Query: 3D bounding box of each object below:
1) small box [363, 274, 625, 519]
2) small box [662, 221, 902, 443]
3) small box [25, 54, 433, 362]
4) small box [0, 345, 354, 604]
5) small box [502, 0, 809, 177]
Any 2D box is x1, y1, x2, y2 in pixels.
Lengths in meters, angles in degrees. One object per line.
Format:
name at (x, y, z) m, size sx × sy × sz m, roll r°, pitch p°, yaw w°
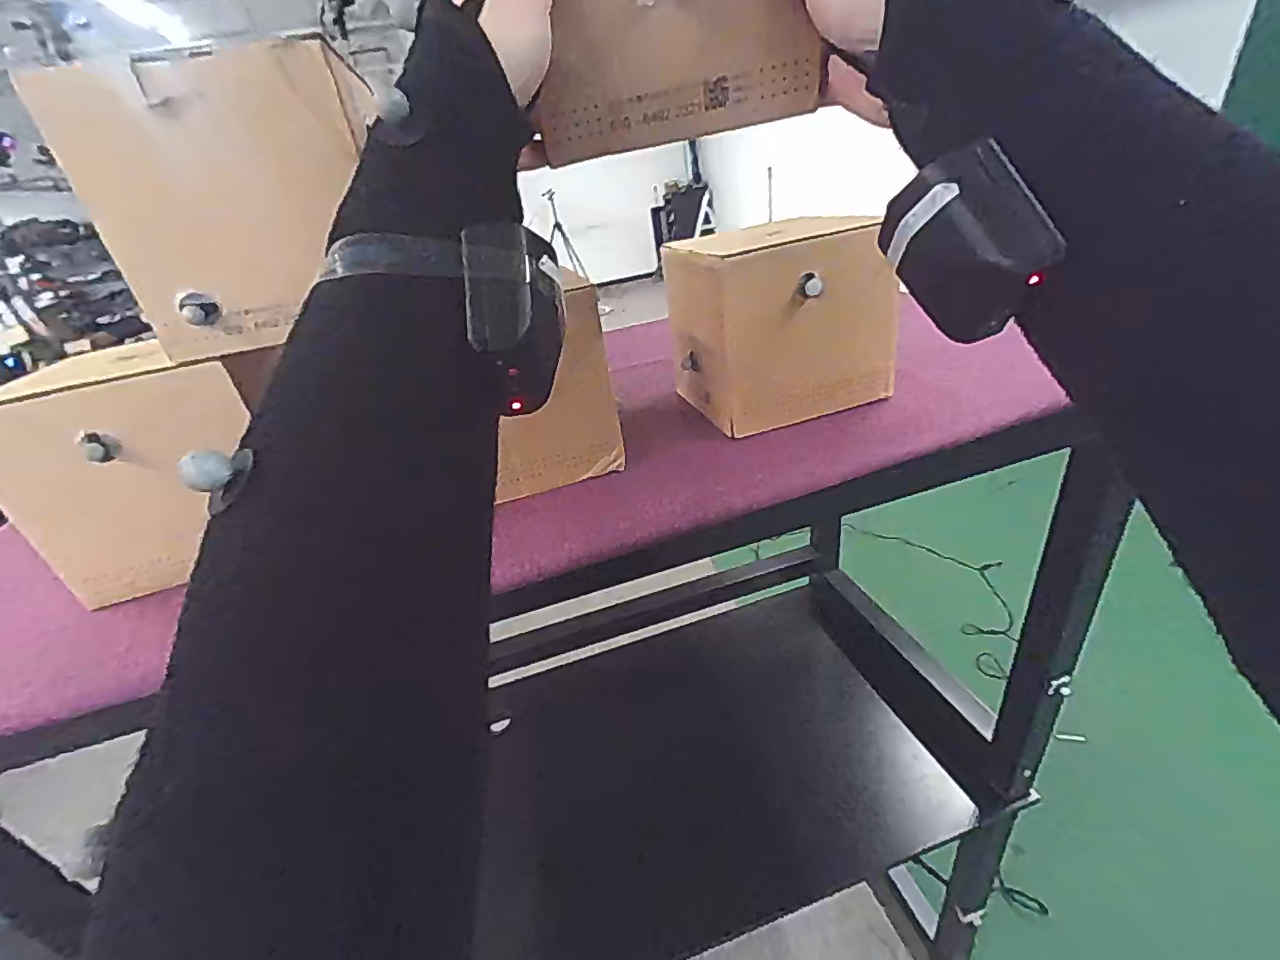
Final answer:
small box at (-0.126, -0.084, 0.511) m, size 0.179 × 0.176 × 0.168 m, roll -15°, pitch 30°, yaw -9°
small box at (0.137, -0.159, 0.559) m, size 0.179 × 0.176 × 0.168 m, roll -17°, pitch 29°, yaw -9°
small box at (-0.275, -0.199, 0.423) m, size 0.168 × 0.176 × 0.179 m, roll -14°, pitch 29°, yaw -8°
small box at (-0.385, -0.019, 0.474) m, size 0.179 × 0.176 × 0.168 m, roll -16°, pitch 31°, yaw -11°
small box at (0.005, -0.308, 0.343) m, size 0.168 × 0.176 × 0.179 m, roll -10°, pitch 37°, yaw 3°
